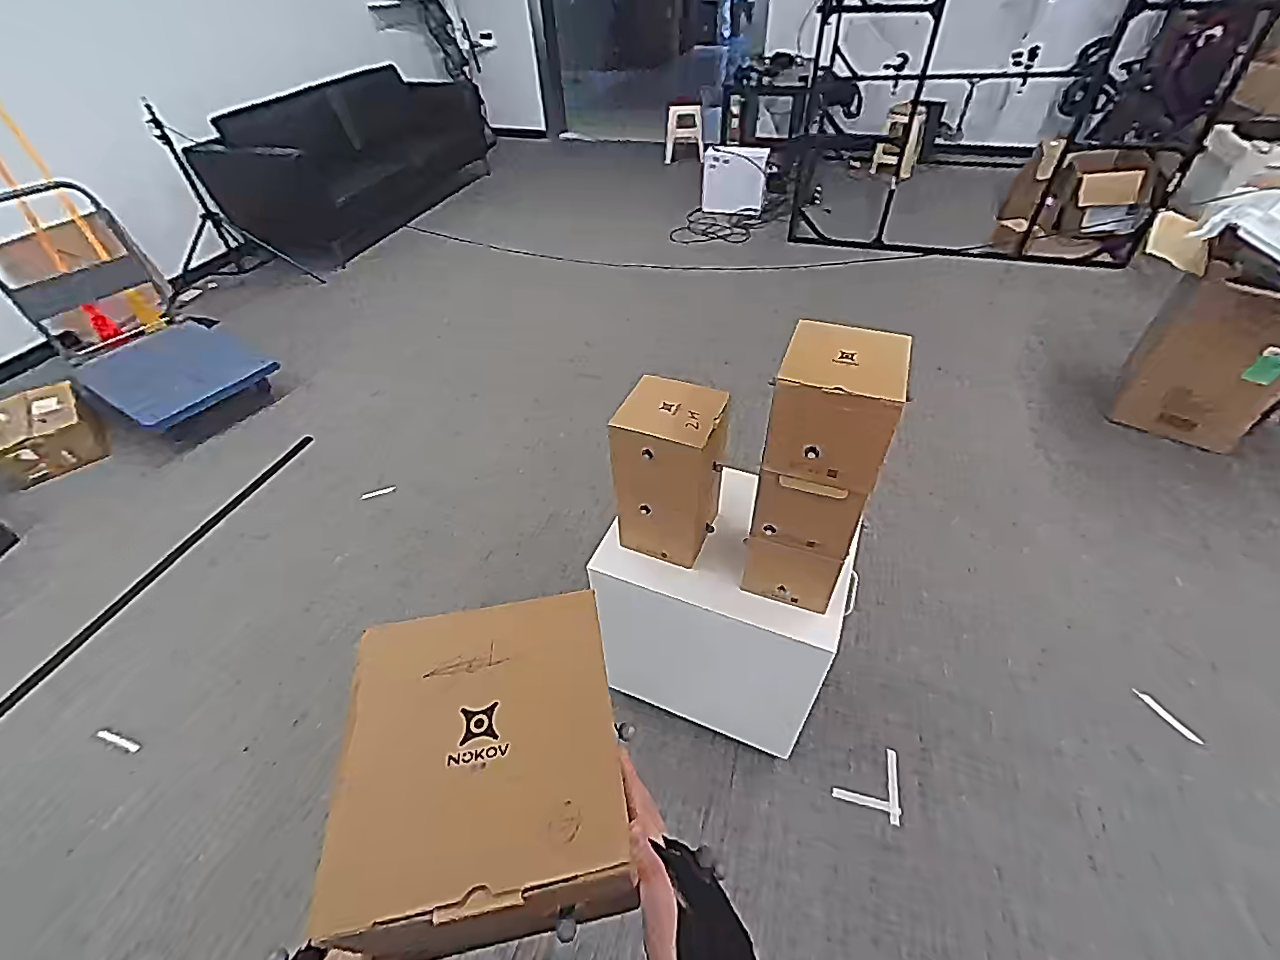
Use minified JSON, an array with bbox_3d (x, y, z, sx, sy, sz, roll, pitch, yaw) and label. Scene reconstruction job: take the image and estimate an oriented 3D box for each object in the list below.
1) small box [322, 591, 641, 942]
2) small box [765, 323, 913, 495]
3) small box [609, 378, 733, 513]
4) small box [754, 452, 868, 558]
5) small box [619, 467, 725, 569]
[{"bbox_3d":[-0.093,0.209,0.393,0.168,0.176,0.179,-7,46,-6],"label":"small box"},{"bbox_3d":[0.293,-0.109,0.812,0.168,0.176,0.179,15,48,17],"label":"small box"},{"bbox_3d":[0.059,-0.063,1.007,0.179,0.176,0.168,16,48,18],"label":"small box"},{"bbox_3d":[0.298,0.006,0.928,0.168,0.176,0.179,15,47,17],"label":"small box"},{"bbox_3d":[0.066,0.052,1.125,0.168,0.176,0.179,16,47,19],"label":"small box"}]
